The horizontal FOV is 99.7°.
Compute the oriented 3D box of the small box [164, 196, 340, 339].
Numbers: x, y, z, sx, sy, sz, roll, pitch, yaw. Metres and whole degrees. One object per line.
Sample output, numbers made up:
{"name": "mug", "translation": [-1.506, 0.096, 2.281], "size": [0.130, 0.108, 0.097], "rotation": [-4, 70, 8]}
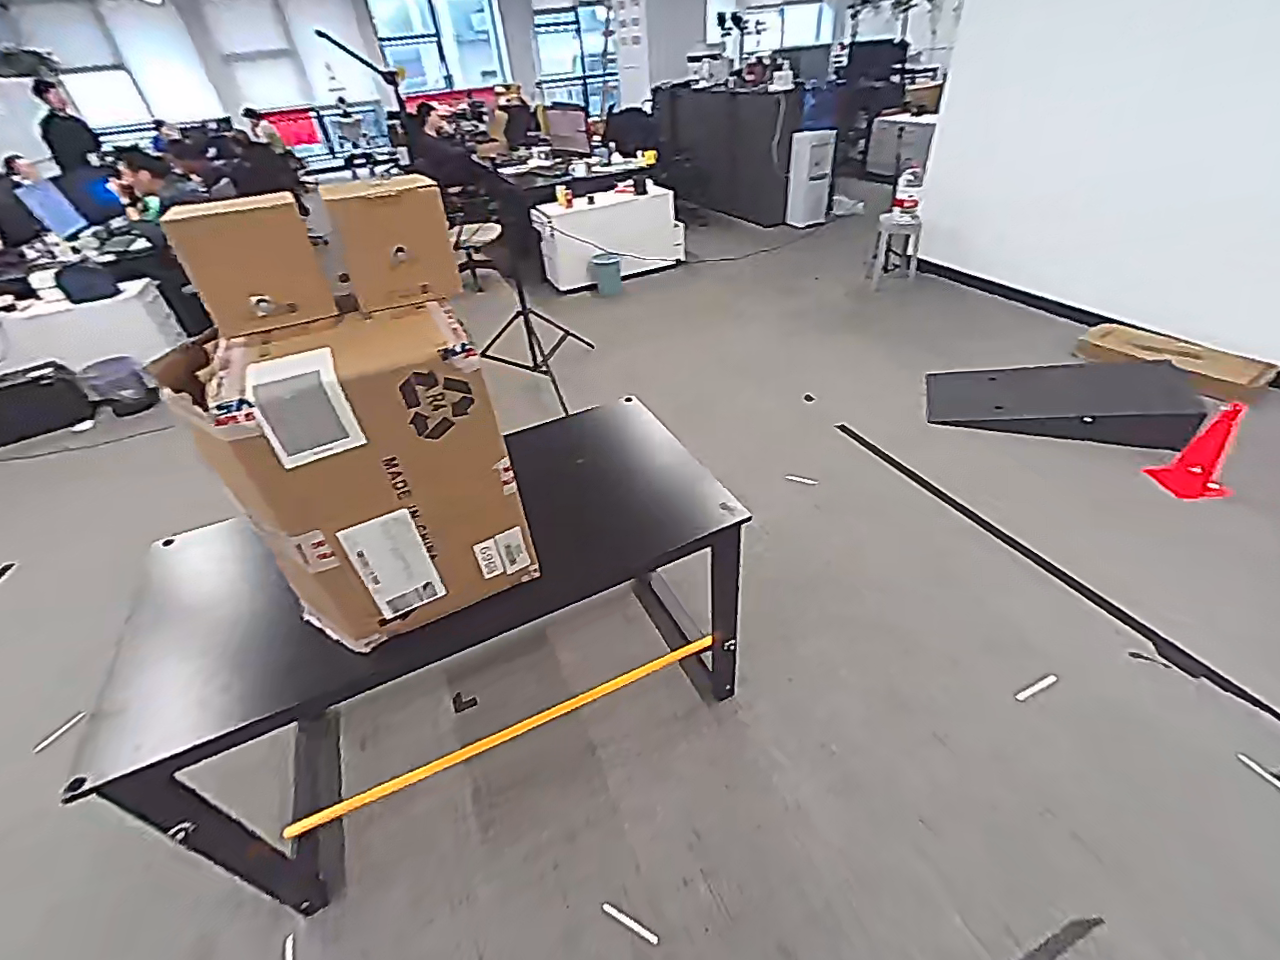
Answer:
{"name": "small box", "translation": [-0.603, -0.340, 0.857], "size": [0.168, 0.176, 0.179], "rotation": [-24, 40, -23]}

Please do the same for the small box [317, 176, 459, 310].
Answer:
{"name": "small box", "translation": [-0.421, -0.399, 0.914], "size": [0.168, 0.176, 0.179], "rotation": [-19, 40, -21]}
